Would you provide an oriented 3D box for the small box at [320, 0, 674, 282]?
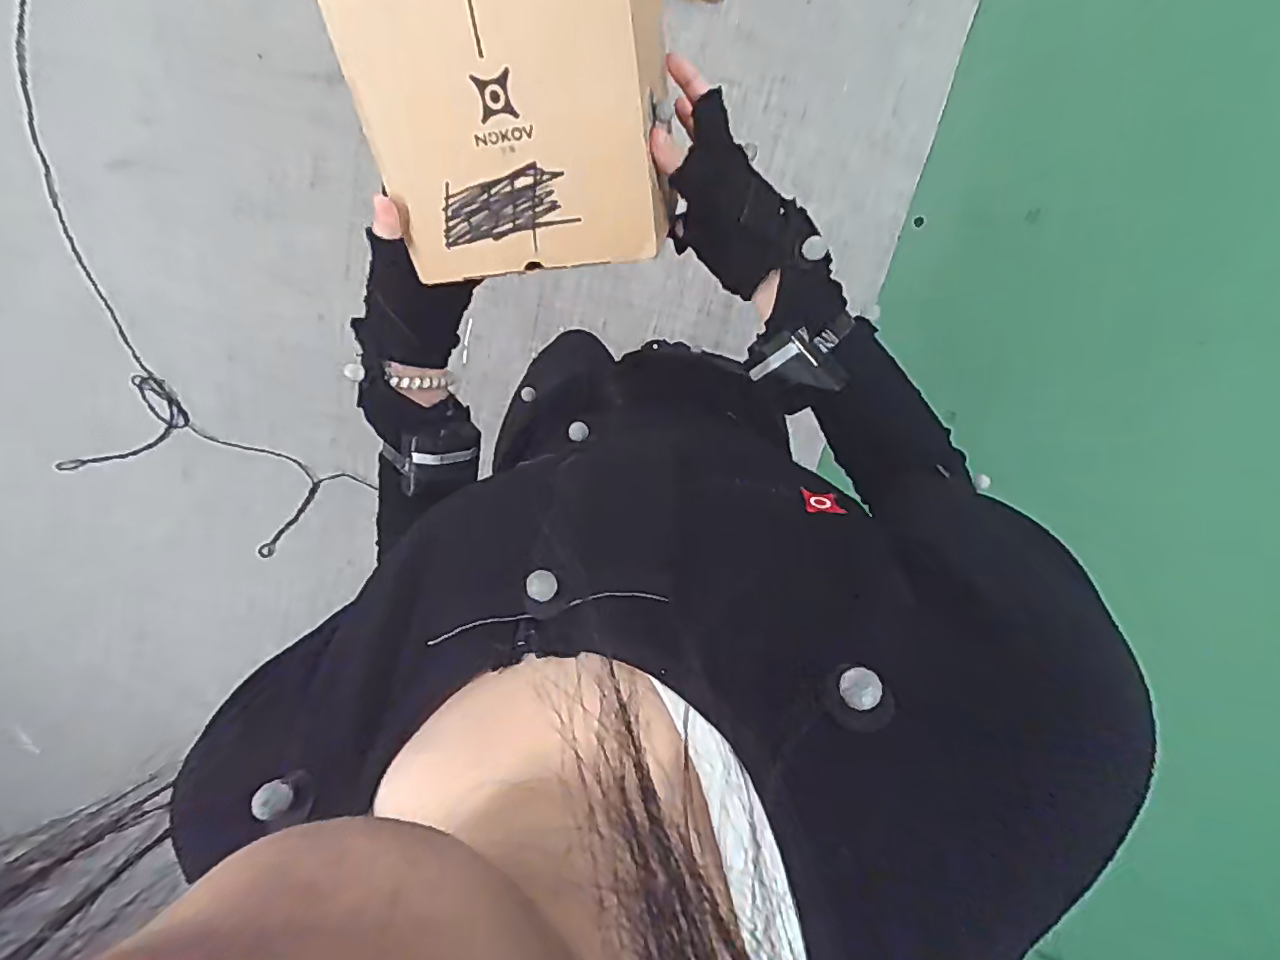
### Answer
[{"bbox_3d":[-0.070,-0.255,0.369,0.168,0.176,0.179,-3,127,10],"label":"small box"}]
